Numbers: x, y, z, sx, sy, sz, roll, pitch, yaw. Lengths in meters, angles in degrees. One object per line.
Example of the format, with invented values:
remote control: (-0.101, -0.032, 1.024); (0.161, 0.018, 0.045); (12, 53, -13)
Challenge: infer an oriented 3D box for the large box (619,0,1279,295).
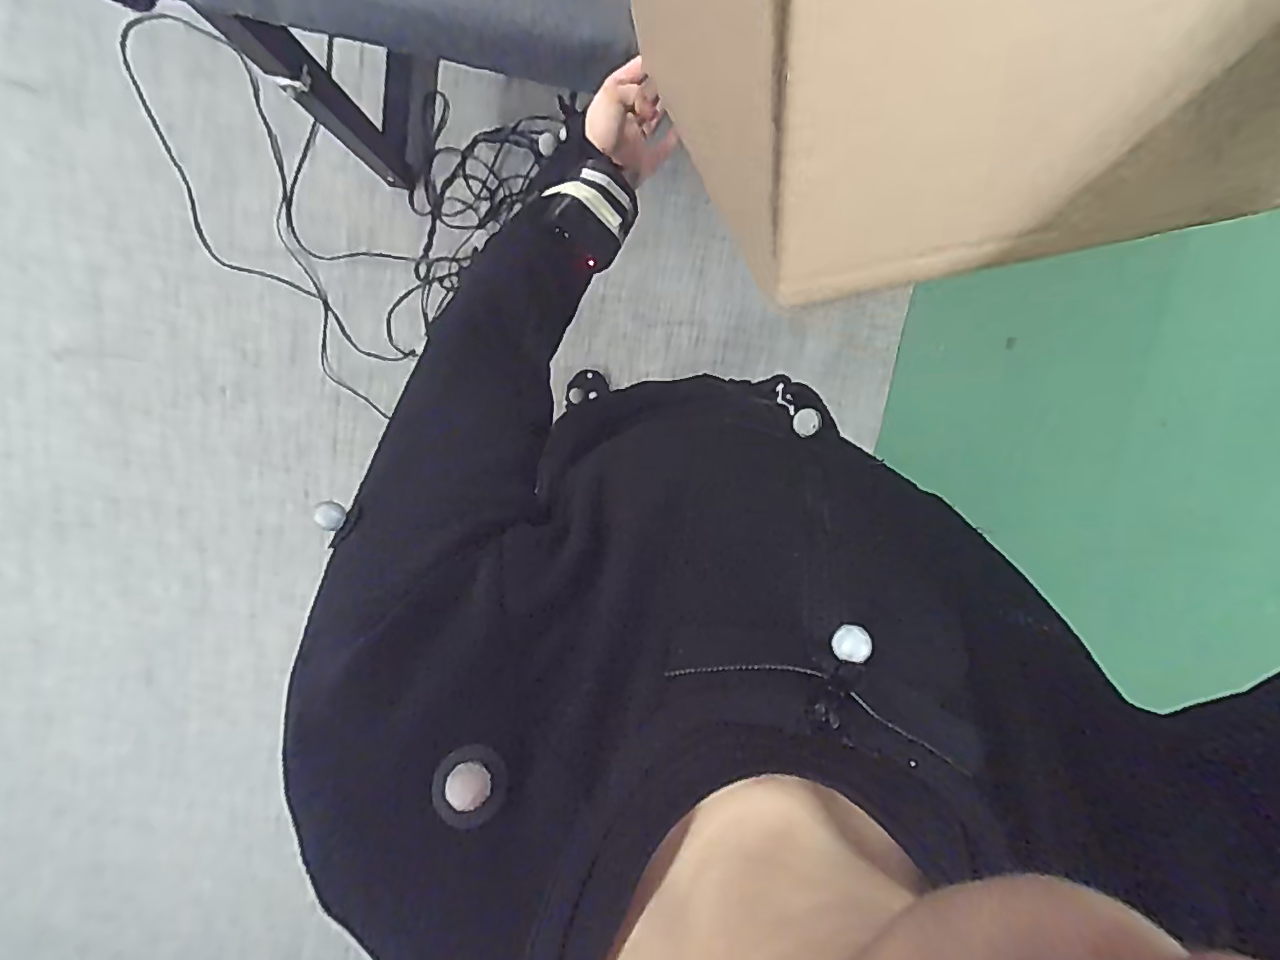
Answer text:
large box: (0.149, -0.351, 0.232); (0.320, 0.408, 0.320); (-14, 141, 1)
